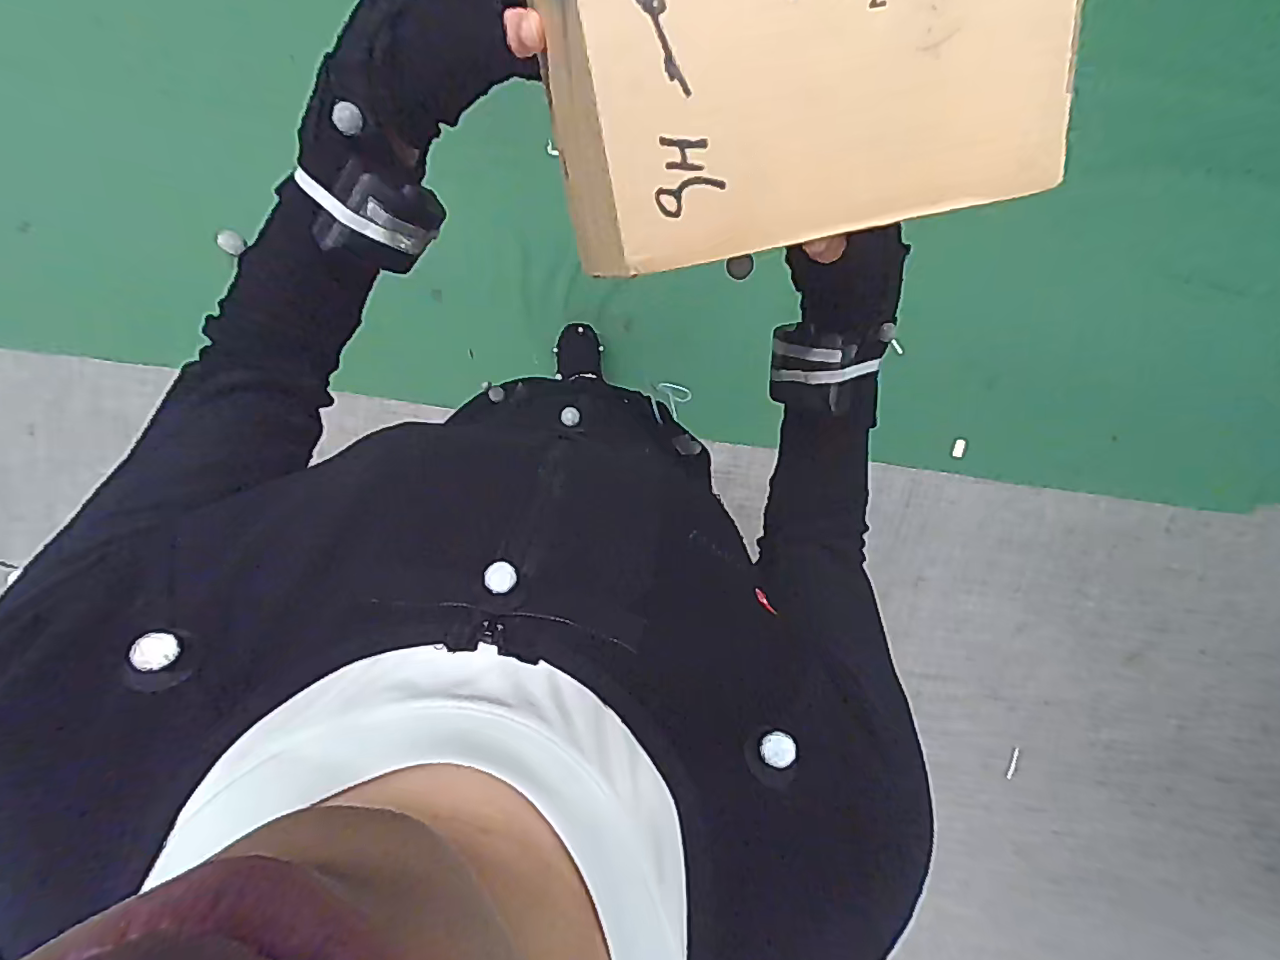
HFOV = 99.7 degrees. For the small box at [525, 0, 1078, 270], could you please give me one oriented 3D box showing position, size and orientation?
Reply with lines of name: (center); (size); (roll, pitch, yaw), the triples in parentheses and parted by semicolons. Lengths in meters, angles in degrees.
small box: (0.050, -0.195, 0.241); (0.179, 0.176, 0.168); (-14, 112, -8)
